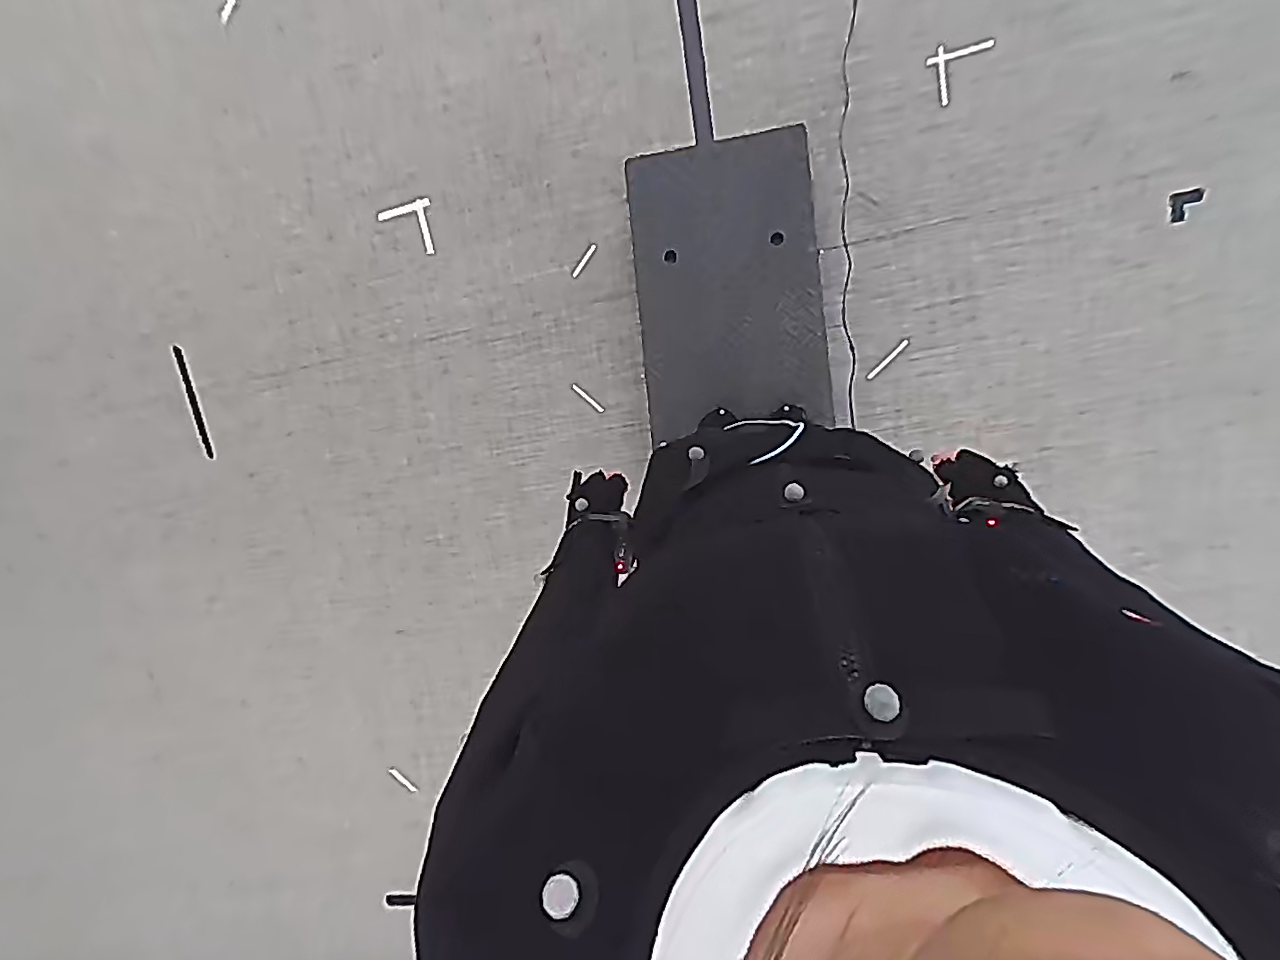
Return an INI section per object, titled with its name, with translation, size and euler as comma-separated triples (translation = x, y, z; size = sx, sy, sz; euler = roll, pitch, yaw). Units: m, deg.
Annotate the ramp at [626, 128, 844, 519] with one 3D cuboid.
[ramp]
translation = 0.242, -0.410, 1.459
size = 0.509, 0.206, 0.991
euler = -7, 98, 11
